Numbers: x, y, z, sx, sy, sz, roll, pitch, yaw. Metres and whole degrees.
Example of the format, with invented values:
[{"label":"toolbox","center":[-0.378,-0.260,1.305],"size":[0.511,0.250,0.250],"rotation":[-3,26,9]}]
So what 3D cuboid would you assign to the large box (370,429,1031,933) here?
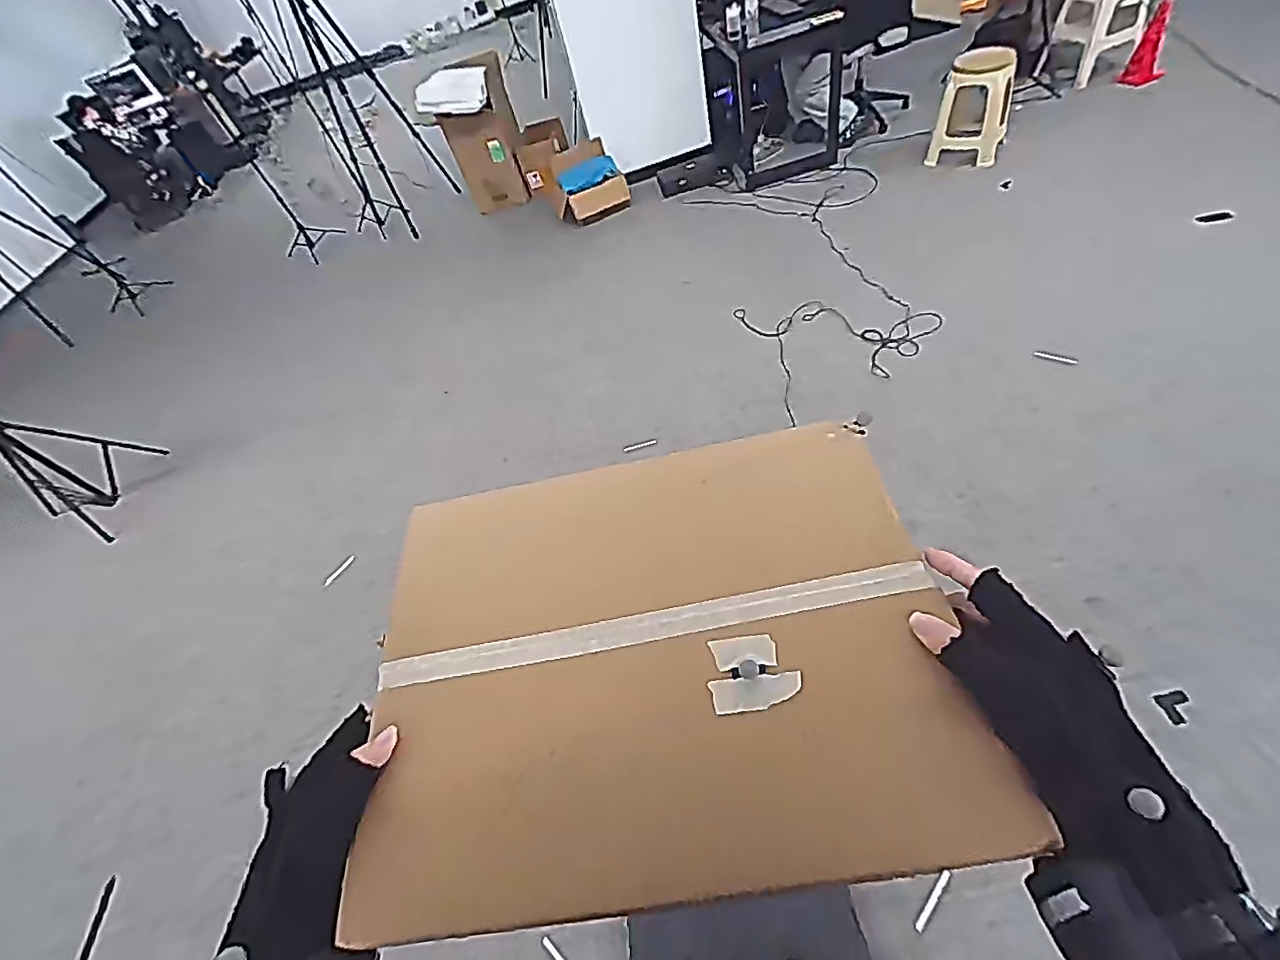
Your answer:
[{"label":"large box","center":[0.036,0.201,0.521],"size":[0.408,0.320,0.320],"rotation":[-12,52,4]}]
